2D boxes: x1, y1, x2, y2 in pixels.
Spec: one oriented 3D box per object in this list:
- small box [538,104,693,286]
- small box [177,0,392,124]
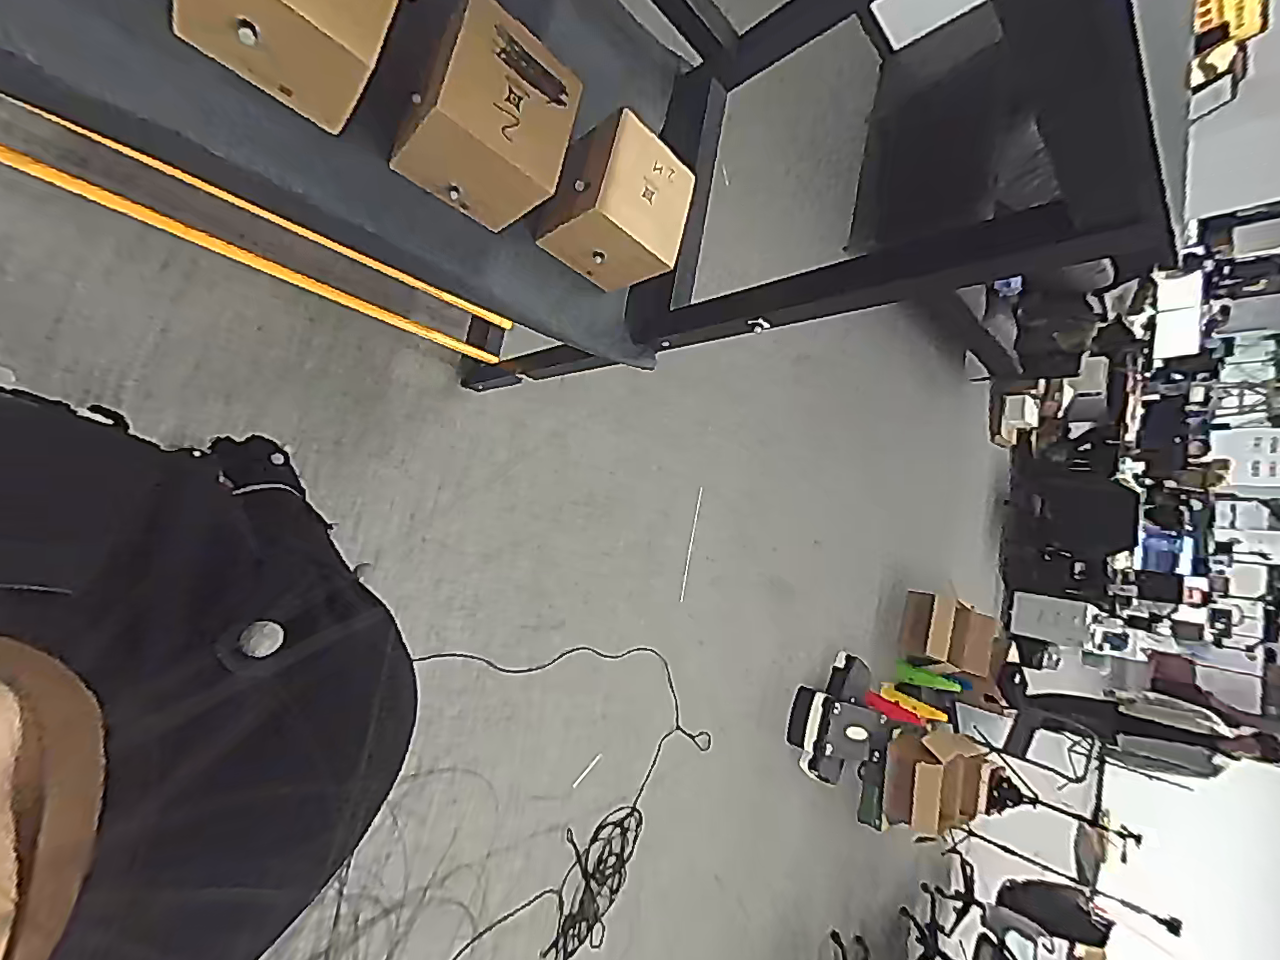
[{"bbox_3d":[-0.044,-0.445,0.881,0.168,0.176,0.179,22,76,-40],"label":"small box"},{"bbox_3d":[-0.373,-0.541,0.585,0.168,0.176,0.179,21,78,-40],"label":"small box"}]
